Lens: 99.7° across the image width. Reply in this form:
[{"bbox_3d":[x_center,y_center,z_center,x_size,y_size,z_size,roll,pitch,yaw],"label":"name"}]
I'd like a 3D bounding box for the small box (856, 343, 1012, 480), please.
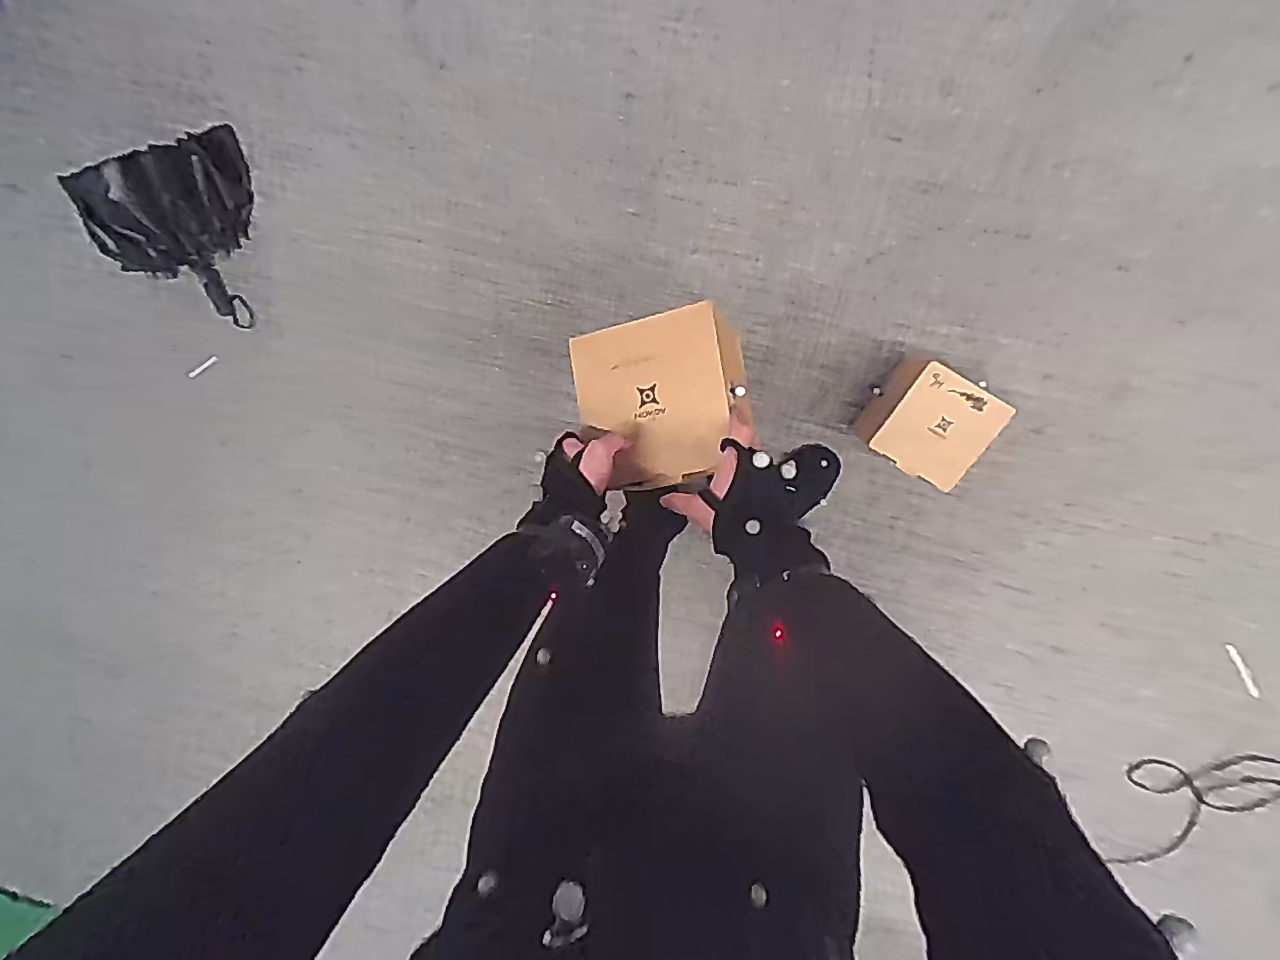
[{"bbox_3d":[0.519,-0.133,0.990,0.168,0.176,0.179,31,111,0],"label":"small box"}]

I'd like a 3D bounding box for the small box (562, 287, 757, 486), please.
[{"bbox_3d":[0.032,-0.094,0.628,0.168,0.176,0.179,-11,87,19],"label":"small box"}]
